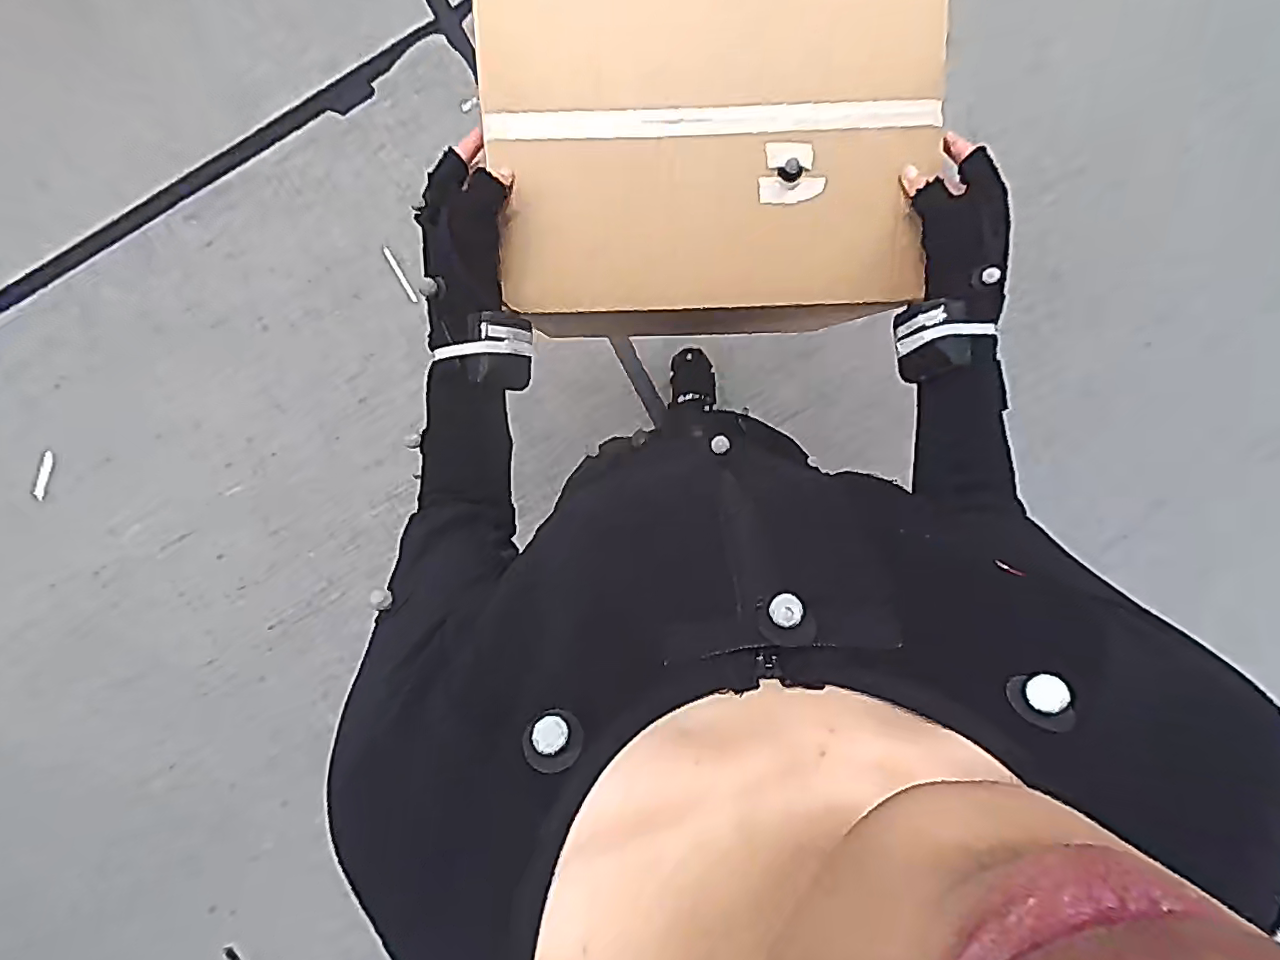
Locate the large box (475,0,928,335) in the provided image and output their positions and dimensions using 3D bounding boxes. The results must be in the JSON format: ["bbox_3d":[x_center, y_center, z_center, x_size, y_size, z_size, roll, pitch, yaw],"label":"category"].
[{"bbox_3d":[0.055,-0.353,0.635,0.408,0.320,0.320,-3,100,-1],"label":"large box"}]

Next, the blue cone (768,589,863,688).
[{"bbox_3d":[0.467,0.427,1.360,0.193,0.380,0.192,-8,96,-1],"label":"blue cone"}]
